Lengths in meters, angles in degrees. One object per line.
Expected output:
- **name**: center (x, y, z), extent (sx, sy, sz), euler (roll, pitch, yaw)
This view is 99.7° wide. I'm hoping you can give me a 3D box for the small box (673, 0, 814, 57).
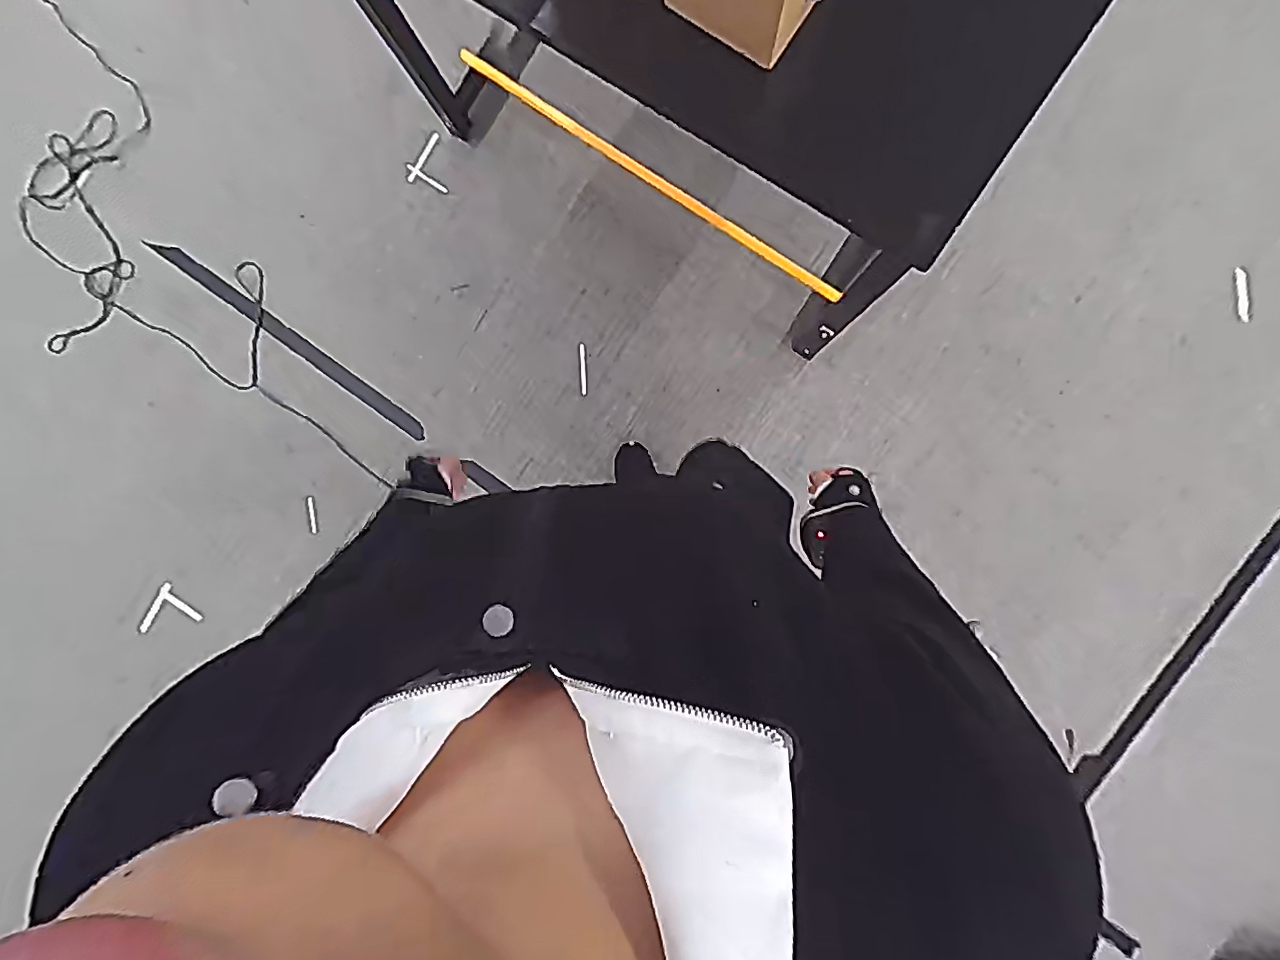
- **small box**: center (0.140, -0.664, 0.640), extent (0.179, 0.176, 0.168), euler (35, 94, 2)
